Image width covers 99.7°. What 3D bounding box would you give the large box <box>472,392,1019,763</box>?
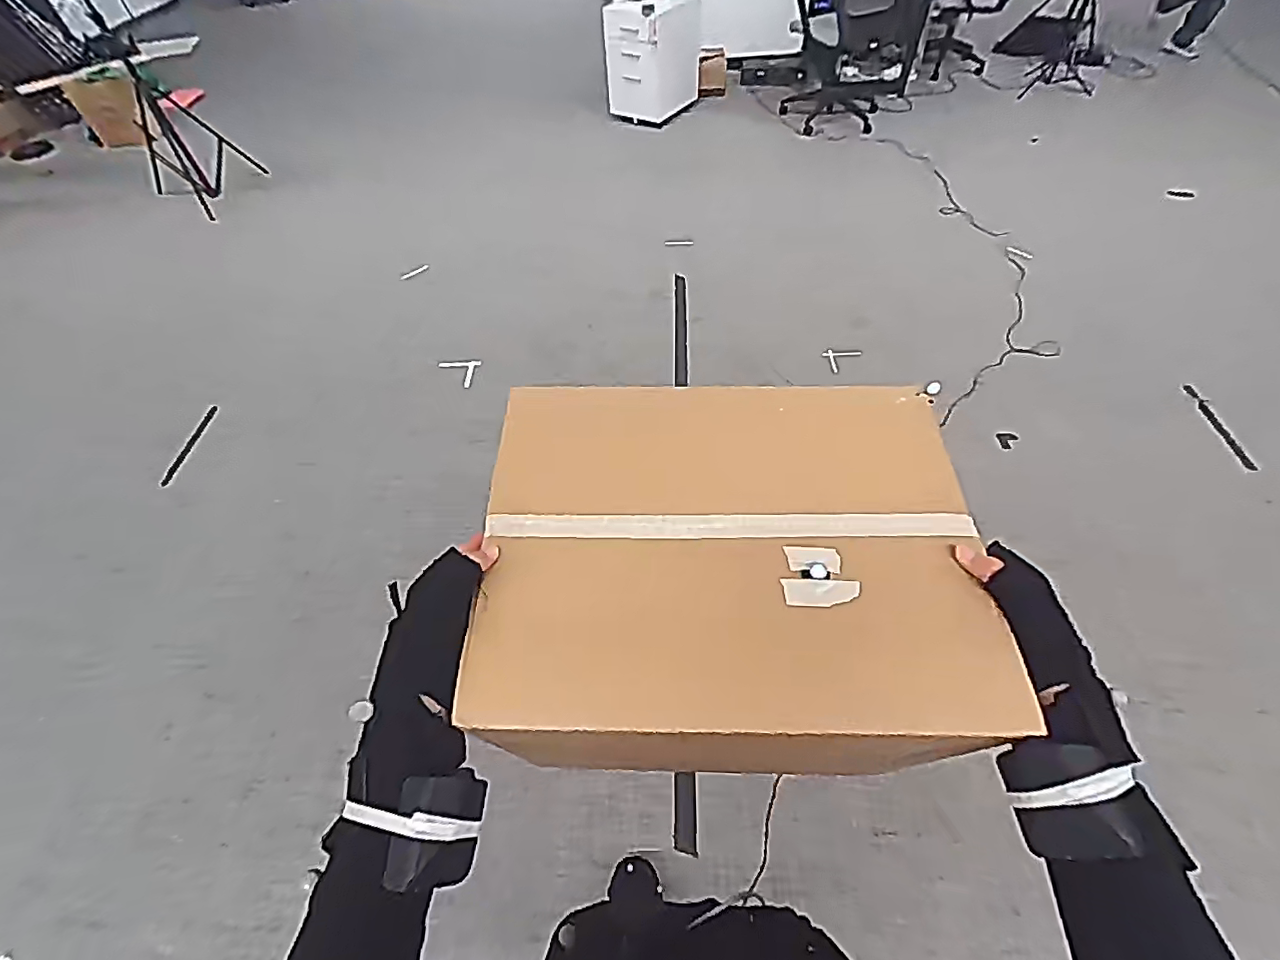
[{"bbox_3d":[0.076,0.121,0.591,0.408,0.320,0.320,0,59,1],"label":"large box"}]
